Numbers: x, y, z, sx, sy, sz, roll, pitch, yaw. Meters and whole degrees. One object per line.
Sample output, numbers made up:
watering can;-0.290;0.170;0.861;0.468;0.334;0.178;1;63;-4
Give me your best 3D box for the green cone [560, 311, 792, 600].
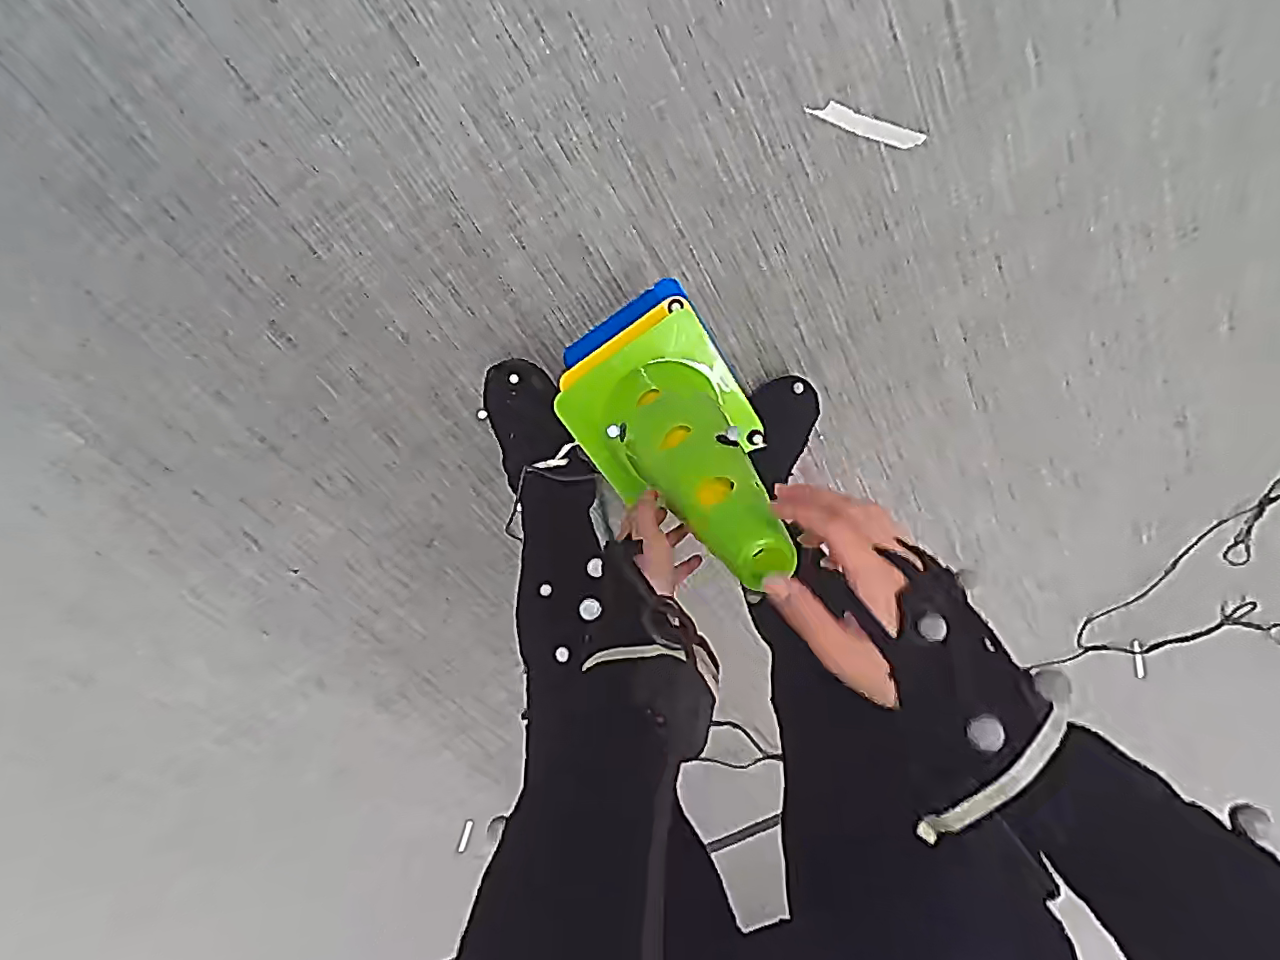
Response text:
green cone;0.055;-0.010;0.495;0.202;0.368;0.200;-35;111;6
